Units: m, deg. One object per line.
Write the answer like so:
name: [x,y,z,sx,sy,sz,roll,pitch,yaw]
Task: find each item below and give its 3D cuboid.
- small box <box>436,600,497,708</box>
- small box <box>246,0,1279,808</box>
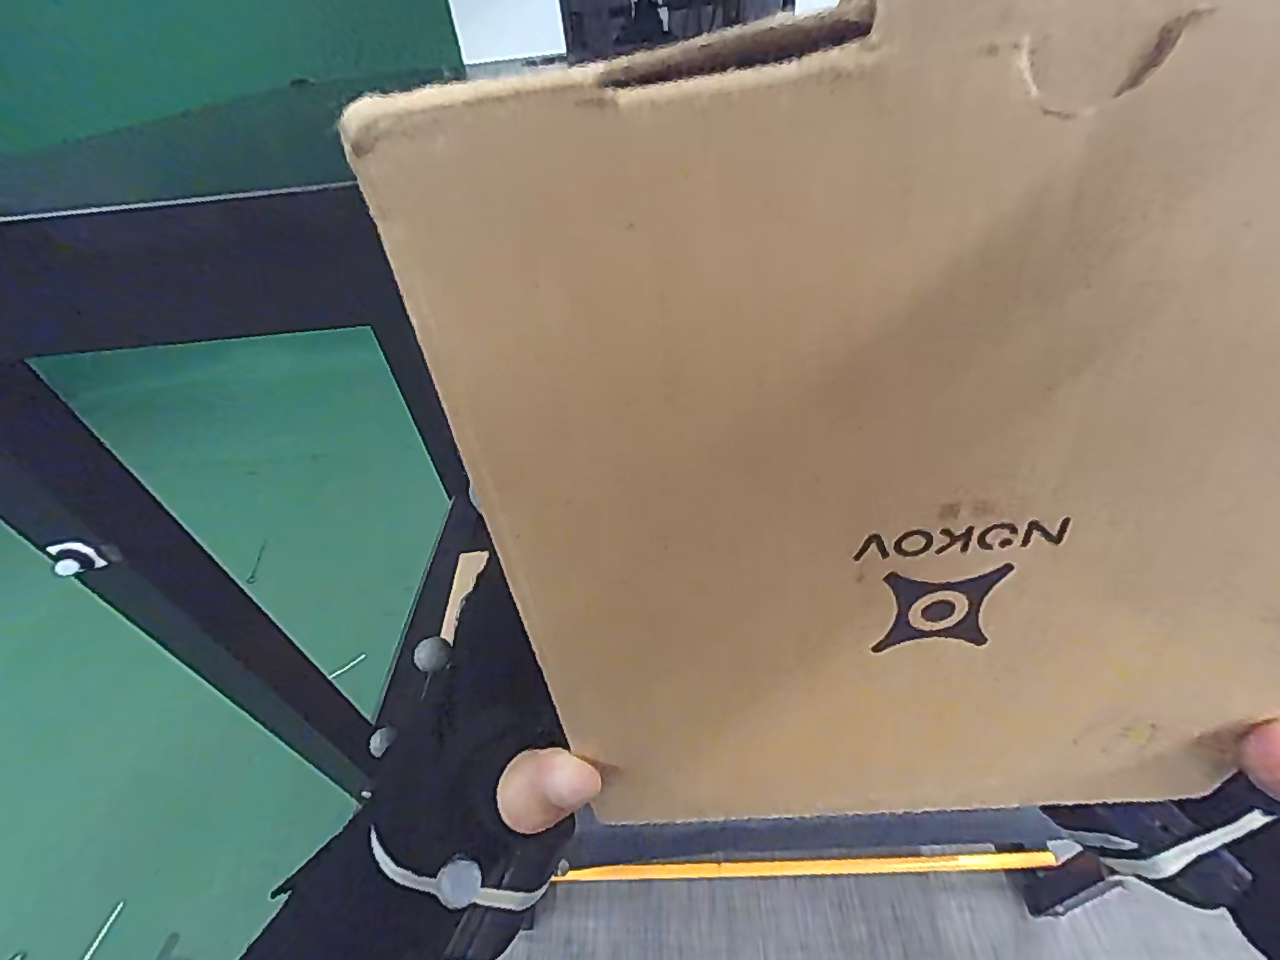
small box: [-0.185,0.219,0.823,0.168,0.176,0.179,-6,42,2]
small box: [0.046,-0.027,0.169,0.168,0.179,0.176,-6,34,5]
